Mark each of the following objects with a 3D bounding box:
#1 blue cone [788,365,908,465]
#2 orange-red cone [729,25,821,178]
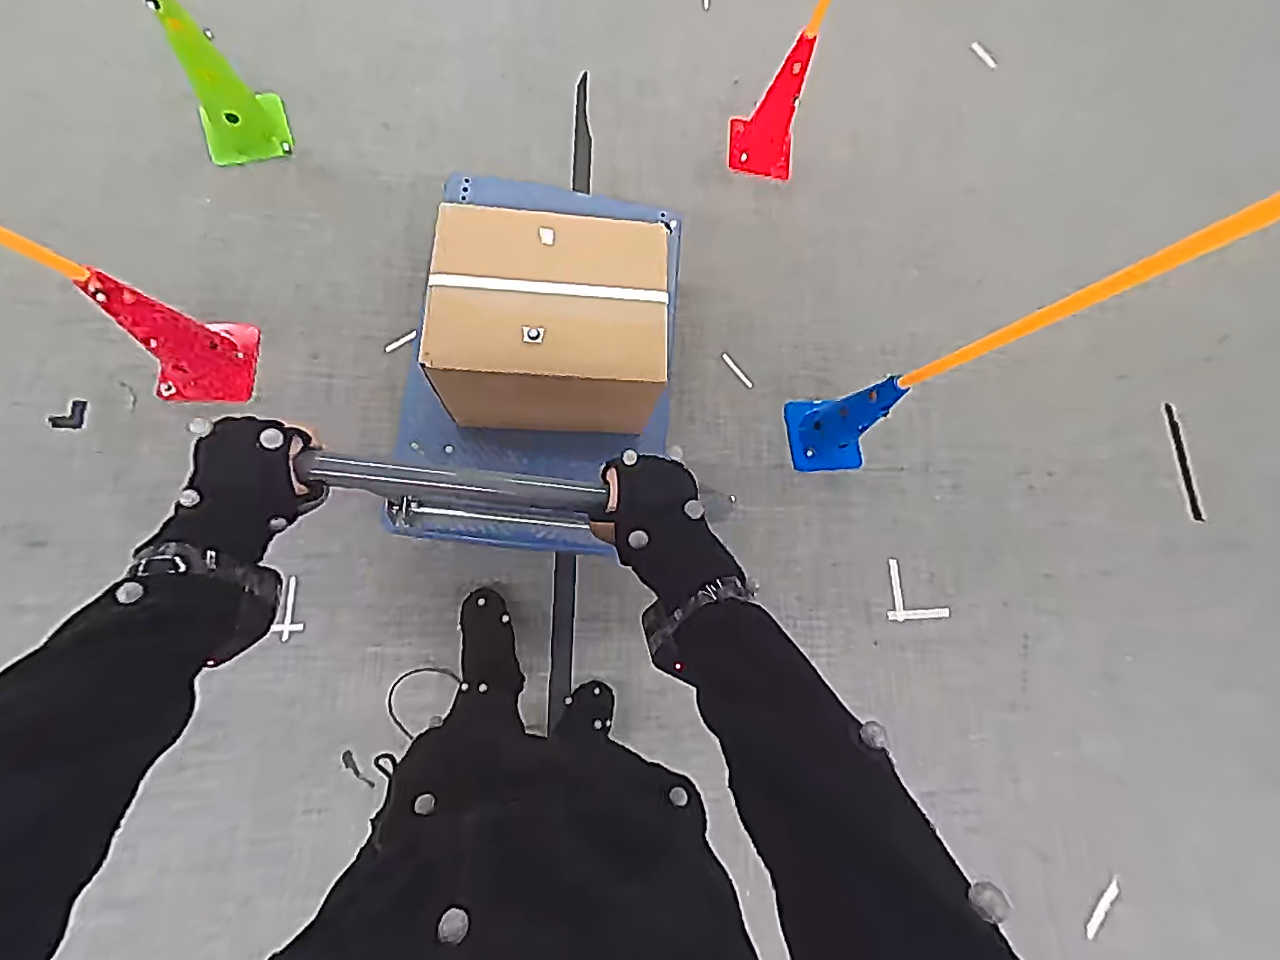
[{"bbox_3d":[0.527,-0.172,1.316,0.193,0.380,0.192,-2,76,-9],"label":"blue cone"},{"bbox_3d":[0.400,-1.058,1.486,0.199,0.360,0.198,8,77,-7],"label":"orange-red cone"}]
